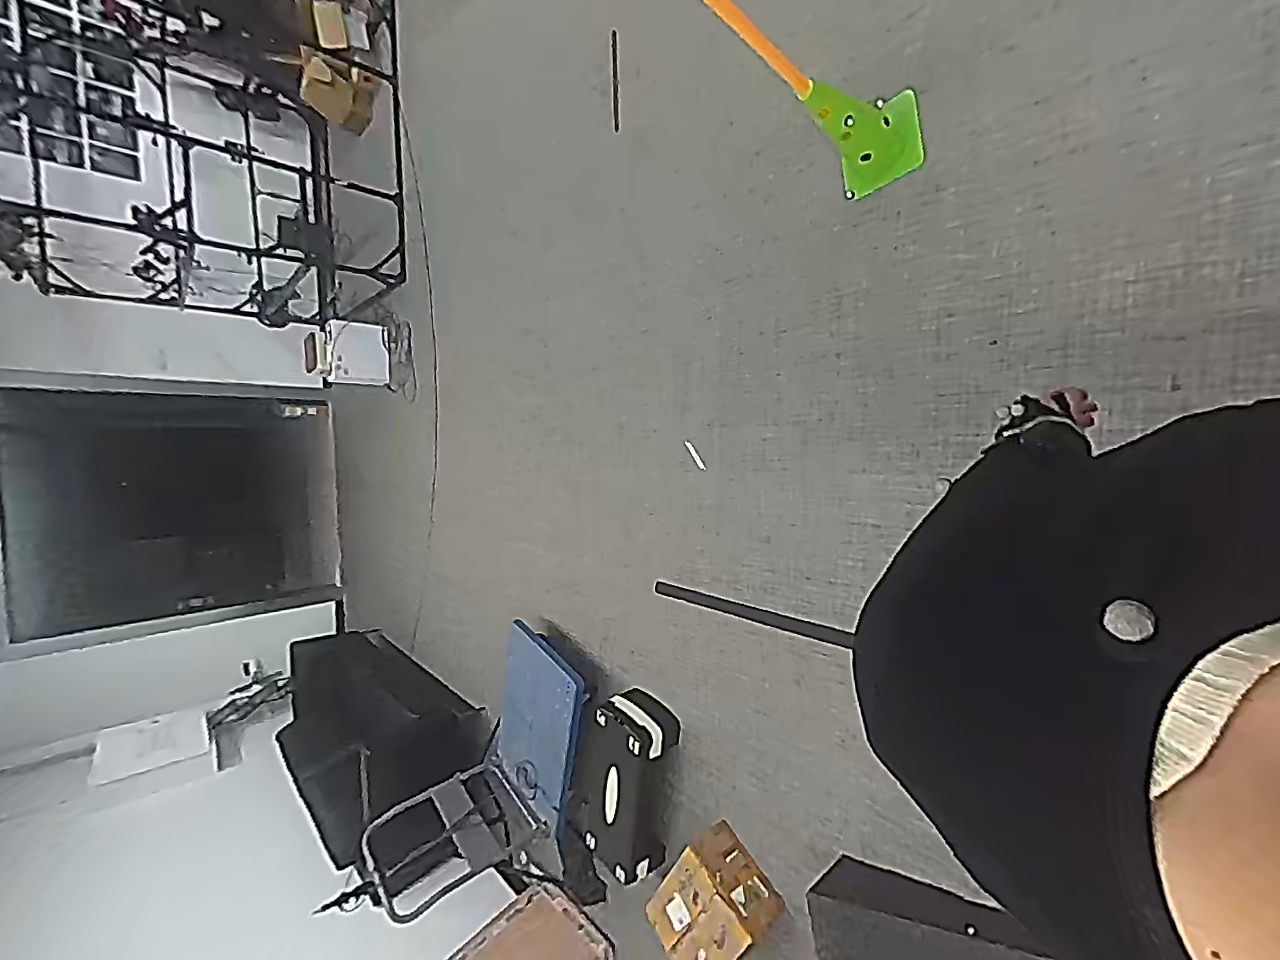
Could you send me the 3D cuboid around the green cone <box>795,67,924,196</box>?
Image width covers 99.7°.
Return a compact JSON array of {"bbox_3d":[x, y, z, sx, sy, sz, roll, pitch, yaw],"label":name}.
[{"bbox_3d":[0.486,-0.856,1.266,0.200,0.368,0.202,-11,82,48],"label":"green cone"}]
